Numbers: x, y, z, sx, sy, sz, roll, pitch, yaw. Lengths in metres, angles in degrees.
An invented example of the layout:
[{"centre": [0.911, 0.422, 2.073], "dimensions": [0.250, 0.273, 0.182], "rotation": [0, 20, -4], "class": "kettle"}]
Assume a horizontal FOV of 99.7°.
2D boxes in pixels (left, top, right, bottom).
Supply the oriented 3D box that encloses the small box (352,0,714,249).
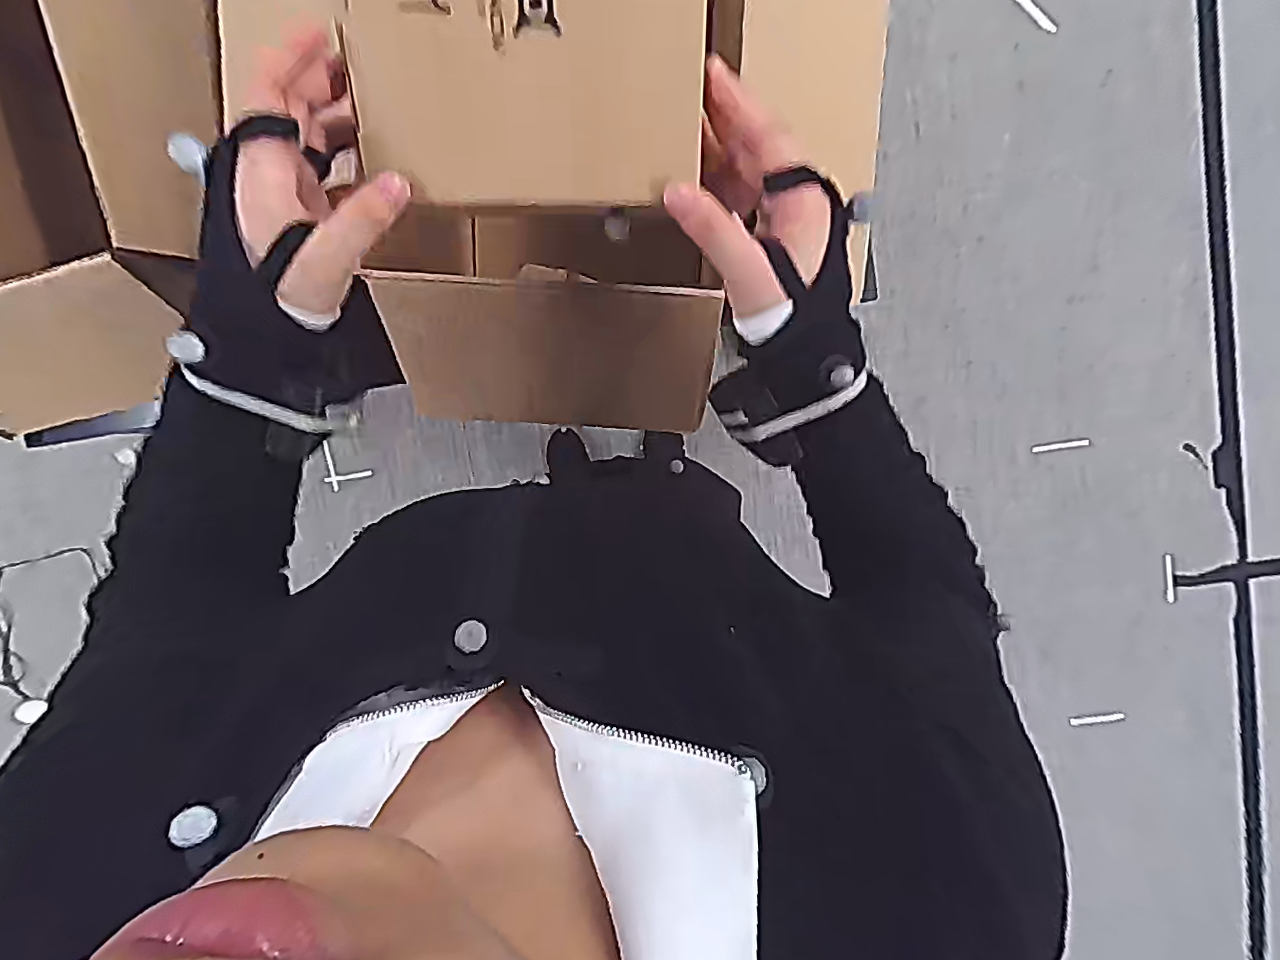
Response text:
[{"centre": [-0.051, -0.238, 0.341], "dimensions": [0.179, 0.176, 0.168], "rotation": [1, 113, 1], "class": "small box"}]
